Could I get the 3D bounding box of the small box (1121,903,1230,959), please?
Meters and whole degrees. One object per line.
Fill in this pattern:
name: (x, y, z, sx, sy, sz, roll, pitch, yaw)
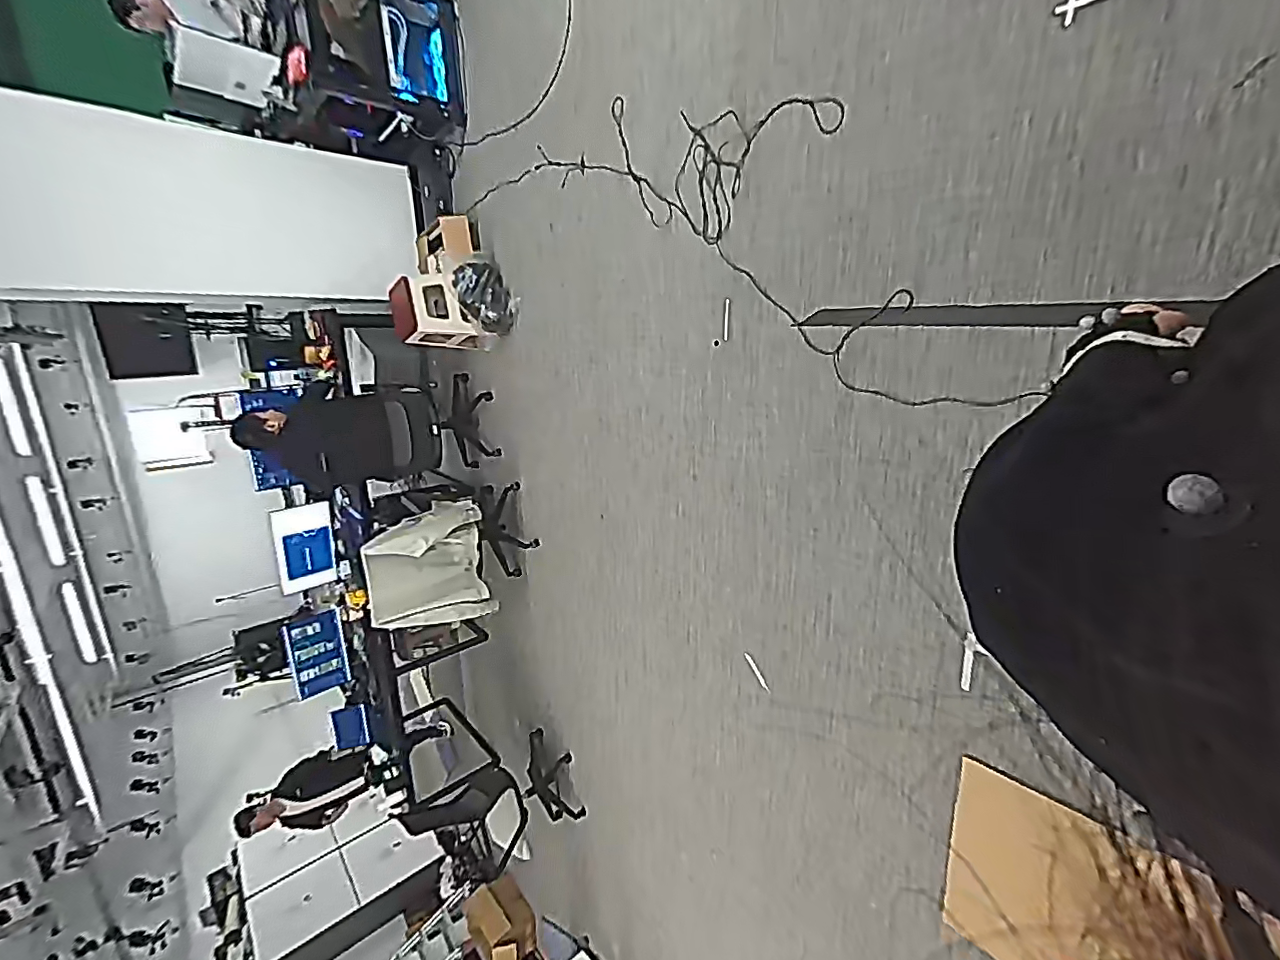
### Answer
small box: (1.177, 1.105, 1.196, 0.168, 0.176, 0.179, 11, 109, 48)
